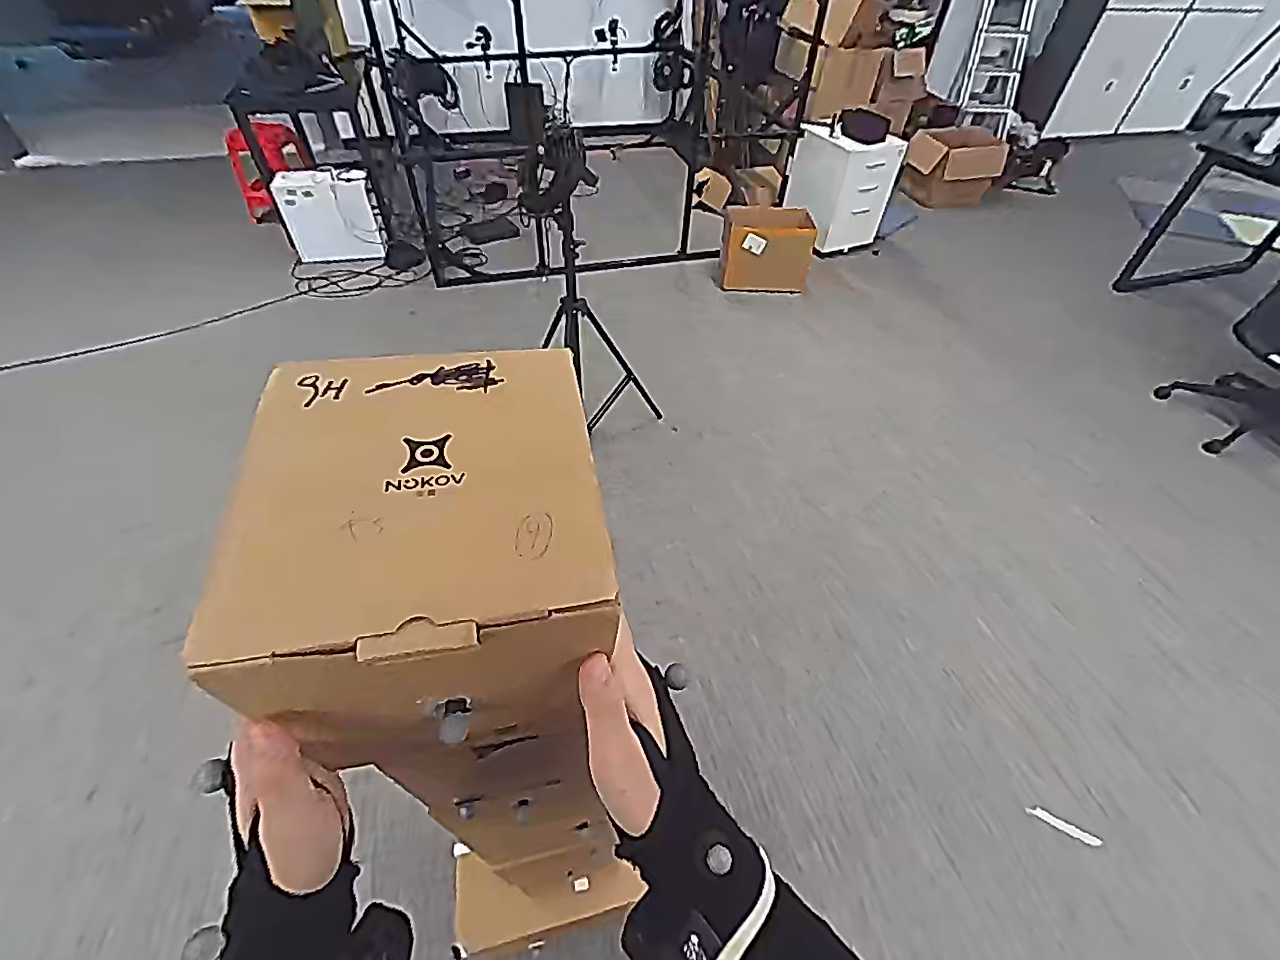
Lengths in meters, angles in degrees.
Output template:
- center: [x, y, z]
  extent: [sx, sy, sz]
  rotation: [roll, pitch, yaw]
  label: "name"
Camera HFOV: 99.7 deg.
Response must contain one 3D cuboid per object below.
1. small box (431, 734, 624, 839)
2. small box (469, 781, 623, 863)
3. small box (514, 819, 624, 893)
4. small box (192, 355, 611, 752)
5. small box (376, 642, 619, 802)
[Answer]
- center: [-0.120, 0.273, 0.598]
  extent: [0.179, 0.176, 0.168]
  rotation: [-9, 50, -10]
  label: "small box"
- center: [-0.124, 0.383, 0.717]
  extent: [0.179, 0.176, 0.168]
  rotation: [-9, 49, -10]
  label: "small box"
- center: [-0.132, 0.604, 0.960]
  extent: [0.179, 0.176, 0.168]
  rotation: [-11, 50, -13]
  label: "small box"
- center: [-0.112, 0.049, 0.327]
  extent: [0.168, 0.176, 0.179]
  rotation: [-6, 53, -12]
  label: "small box"
- center: [-0.112, 0.162, 0.476]
  extent: [0.168, 0.176, 0.179]
  rotation: [-8, 48, -10]
  label: "small box"
